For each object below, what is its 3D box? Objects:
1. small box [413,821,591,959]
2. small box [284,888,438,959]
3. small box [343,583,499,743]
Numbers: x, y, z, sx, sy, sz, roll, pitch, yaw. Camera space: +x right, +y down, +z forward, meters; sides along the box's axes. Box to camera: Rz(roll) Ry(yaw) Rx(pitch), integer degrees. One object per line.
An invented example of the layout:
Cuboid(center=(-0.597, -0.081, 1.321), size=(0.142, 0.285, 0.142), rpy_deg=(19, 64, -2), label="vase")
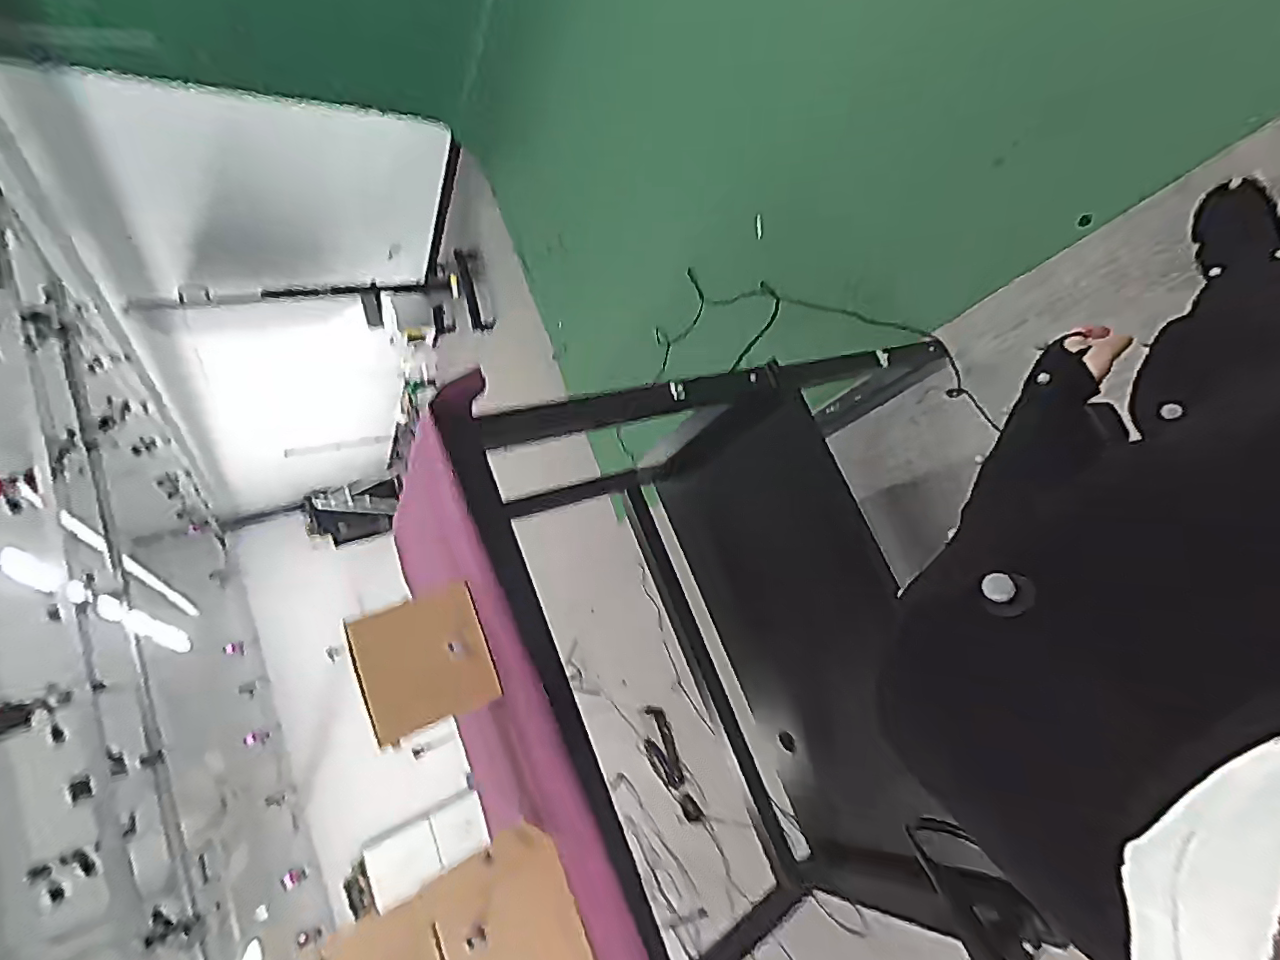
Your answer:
Cuboid(center=(-0.192, 0.604, 0.738), size=(0.168, 0.176, 0.179), rpy_deg=(-39, 70, 55), label="small box")
Cuboid(center=(-0.327, 0.643, 0.656), size=(0.179, 0.176, 0.168), rpy_deg=(-40, 69, 55), label="small box")
Cuboid(center=(-0.331, 0.266, 0.809), size=(0.168, 0.176, 0.179), rpy_deg=(-40, 69, 56), label="small box")
